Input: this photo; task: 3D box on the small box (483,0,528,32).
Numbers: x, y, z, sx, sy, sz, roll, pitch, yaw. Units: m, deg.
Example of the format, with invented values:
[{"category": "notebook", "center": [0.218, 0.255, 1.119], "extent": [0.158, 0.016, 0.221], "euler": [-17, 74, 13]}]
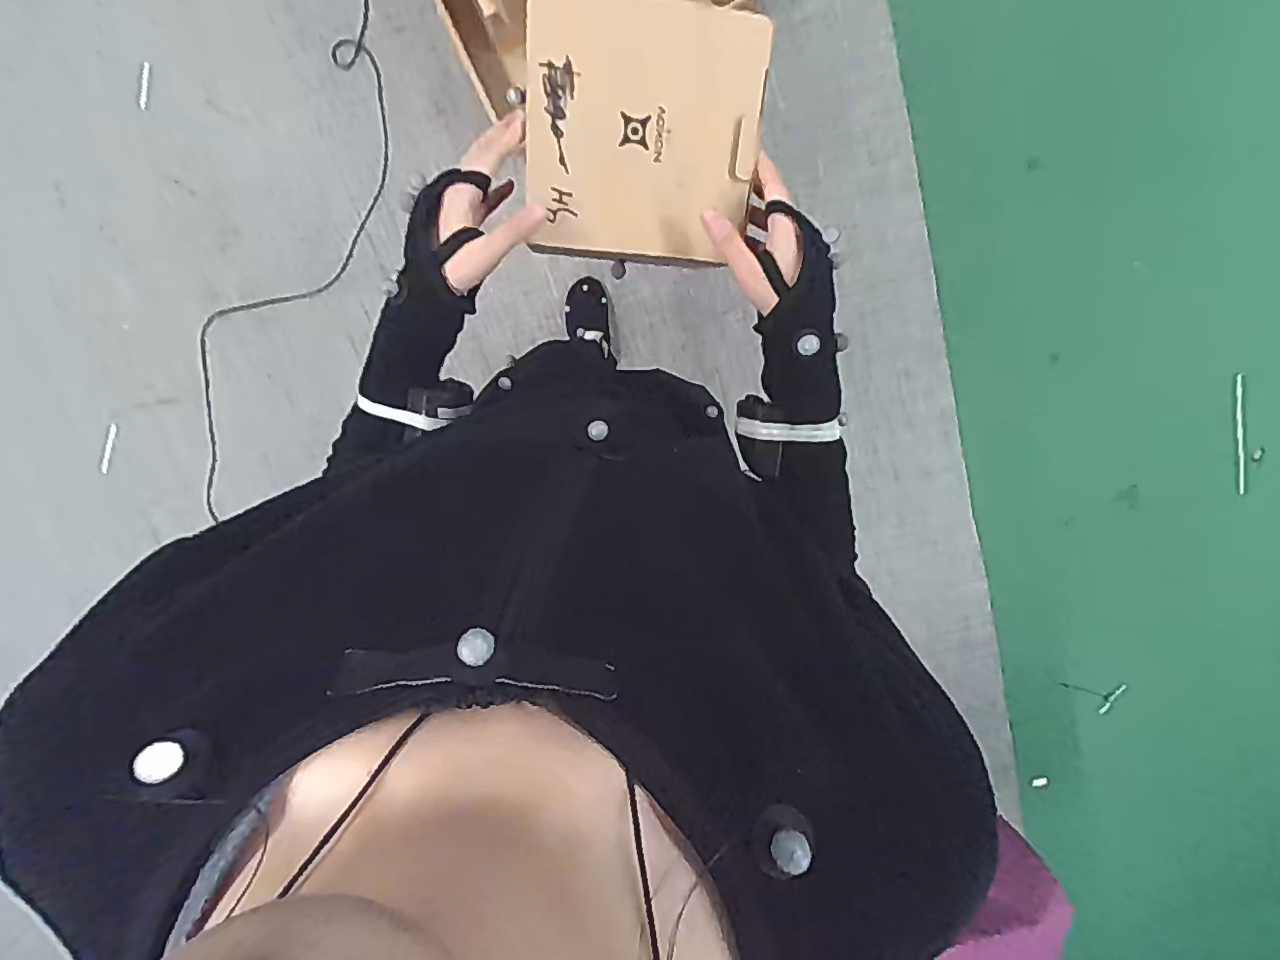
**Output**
[{"category": "small box", "center": [-0.231, -0.954, 0.944], "extent": [0.179, 0.176, 0.168], "euler": [-40, 105, 8]}]

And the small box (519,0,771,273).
[{"category": "small box", "center": [-0.010, -0.280, 0.474], "extent": [0.179, 0.176, 0.168], "euler": [3, 110, -10]}]

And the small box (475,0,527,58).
[{"category": "small box", "center": [-0.255, -1.009, 1.096], "extent": [0.179, 0.176, 0.168], "euler": [-24, 107, 3]}]
